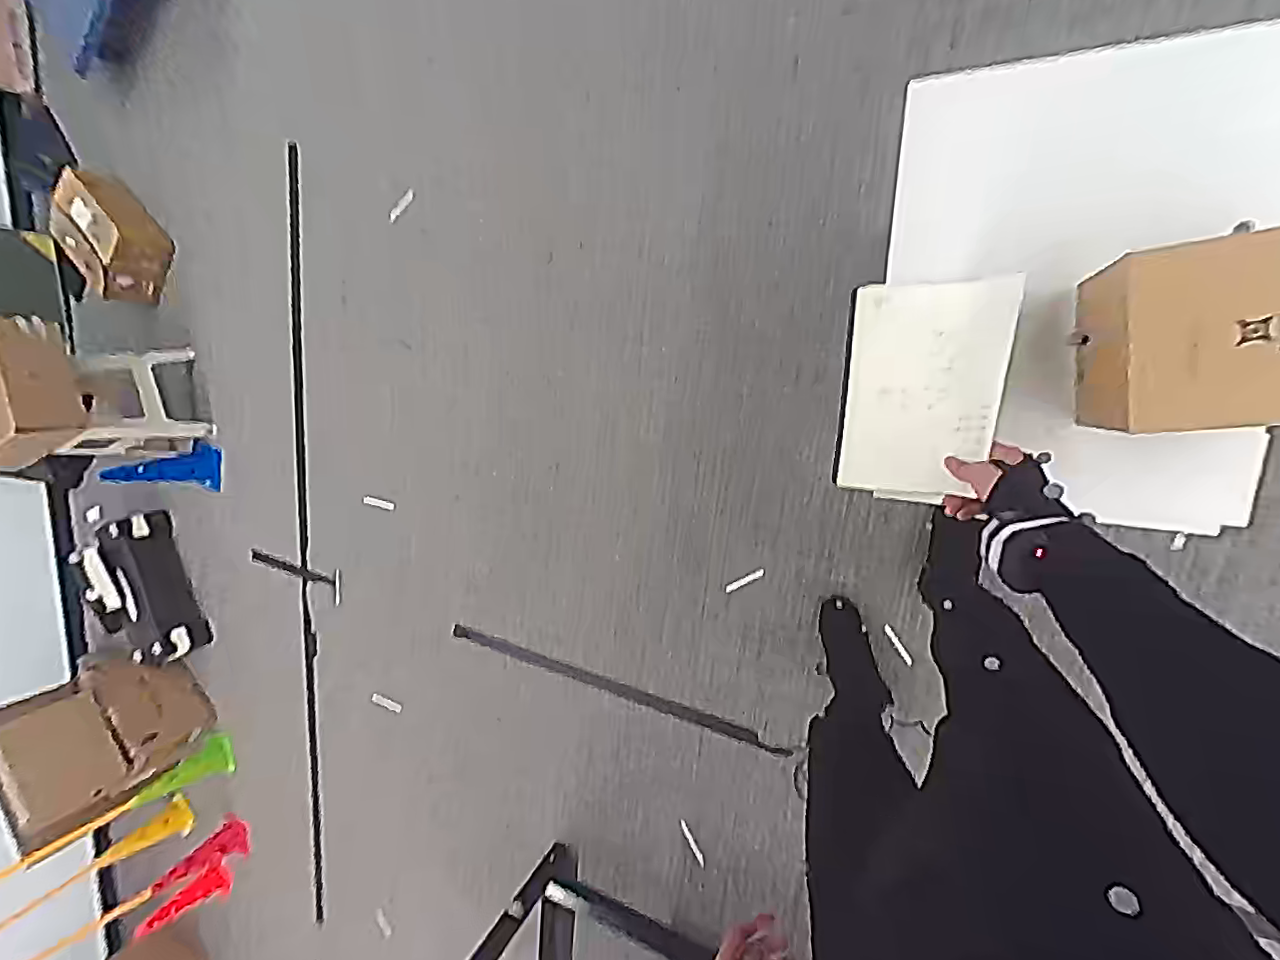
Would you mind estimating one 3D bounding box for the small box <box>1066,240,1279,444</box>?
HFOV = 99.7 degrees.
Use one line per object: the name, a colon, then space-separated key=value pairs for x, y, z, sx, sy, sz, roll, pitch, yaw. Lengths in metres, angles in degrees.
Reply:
small box: x=0.552 y=-0.128 z=0.531 sx=0.179 sy=0.176 sz=0.168 roll=-3 pitch=96 yaw=25
